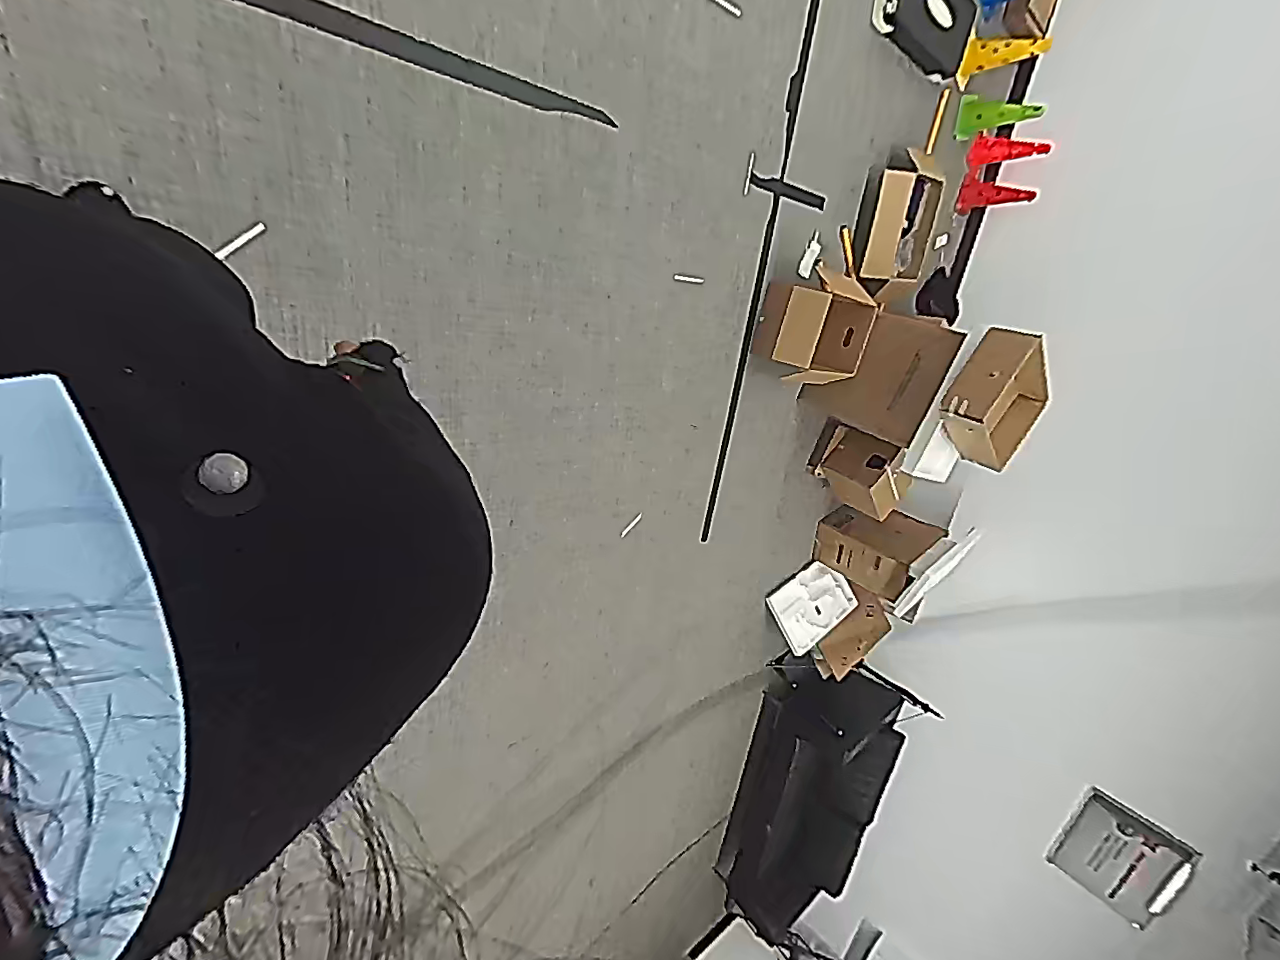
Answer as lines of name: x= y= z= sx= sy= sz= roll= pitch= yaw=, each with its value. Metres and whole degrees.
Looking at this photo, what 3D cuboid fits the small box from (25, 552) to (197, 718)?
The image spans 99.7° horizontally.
small box: x=-0.876 y=0.249 z=0.909 sx=0.168 sy=0.176 sz=0.179 roll=-18 pitch=122 yaw=-39
